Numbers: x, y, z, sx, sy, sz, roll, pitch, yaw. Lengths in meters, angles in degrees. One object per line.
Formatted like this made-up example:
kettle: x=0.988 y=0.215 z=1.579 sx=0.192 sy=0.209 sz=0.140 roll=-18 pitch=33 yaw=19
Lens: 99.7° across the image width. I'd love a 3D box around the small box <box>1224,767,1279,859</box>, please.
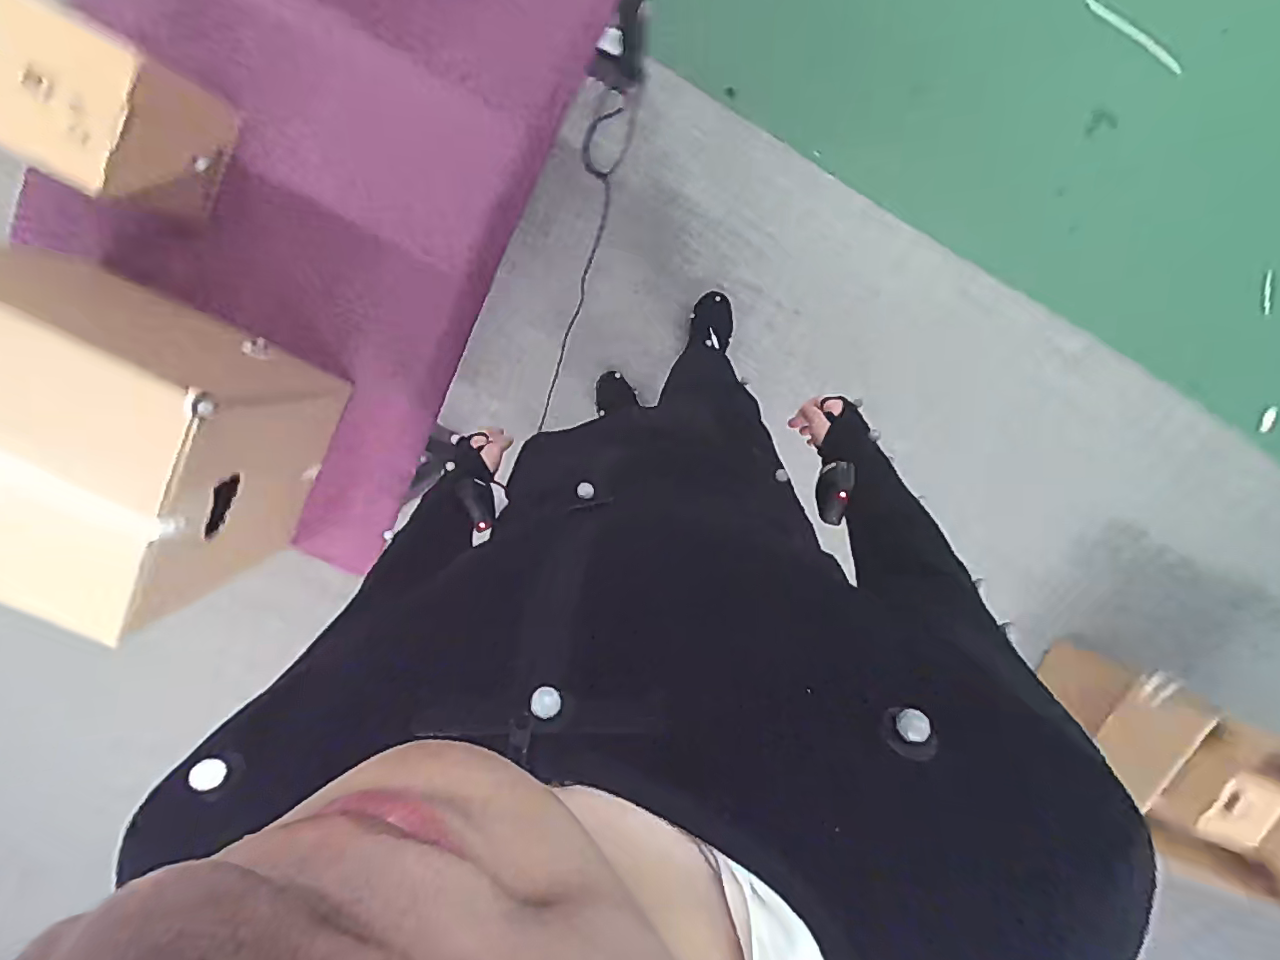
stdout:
small box: x=1.649 y=0.861 z=1.354 sx=0.168 sy=0.176 sz=0.179 roll=20 pitch=102 yaw=-7
